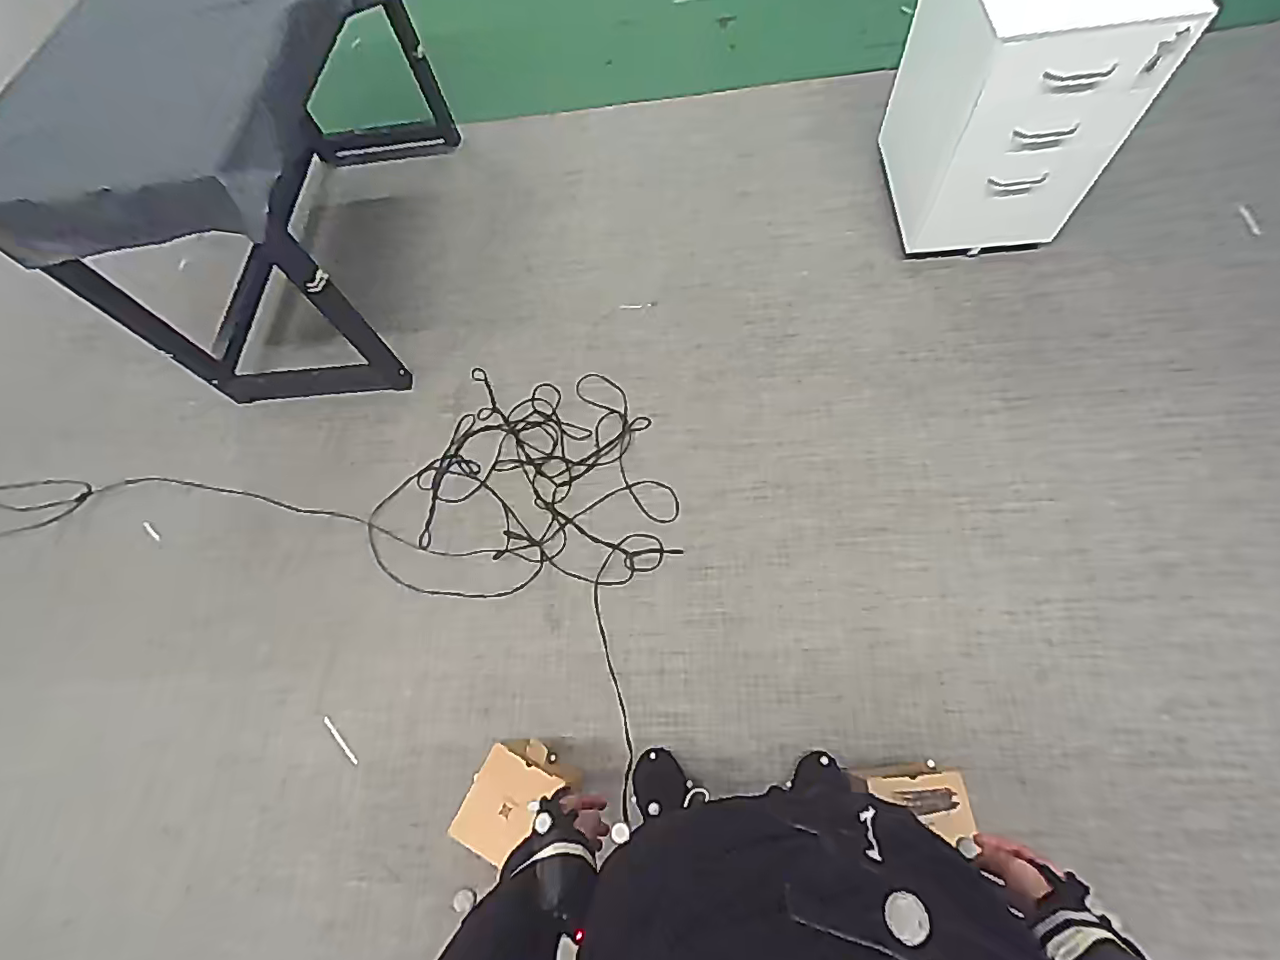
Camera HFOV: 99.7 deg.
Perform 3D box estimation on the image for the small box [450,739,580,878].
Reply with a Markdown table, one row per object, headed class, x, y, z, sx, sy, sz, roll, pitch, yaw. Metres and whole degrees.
| class | x | y | z | sx | sy | sz | roll | pitch | yaw |
| --- | --- | --- | --- | --- | --- | --- | --- | --- | --- |
| small box | -0.239 | 0.644 | 1.086 | 0.168 | 0.176 | 0.179 | 22 | 70 | 16 |
